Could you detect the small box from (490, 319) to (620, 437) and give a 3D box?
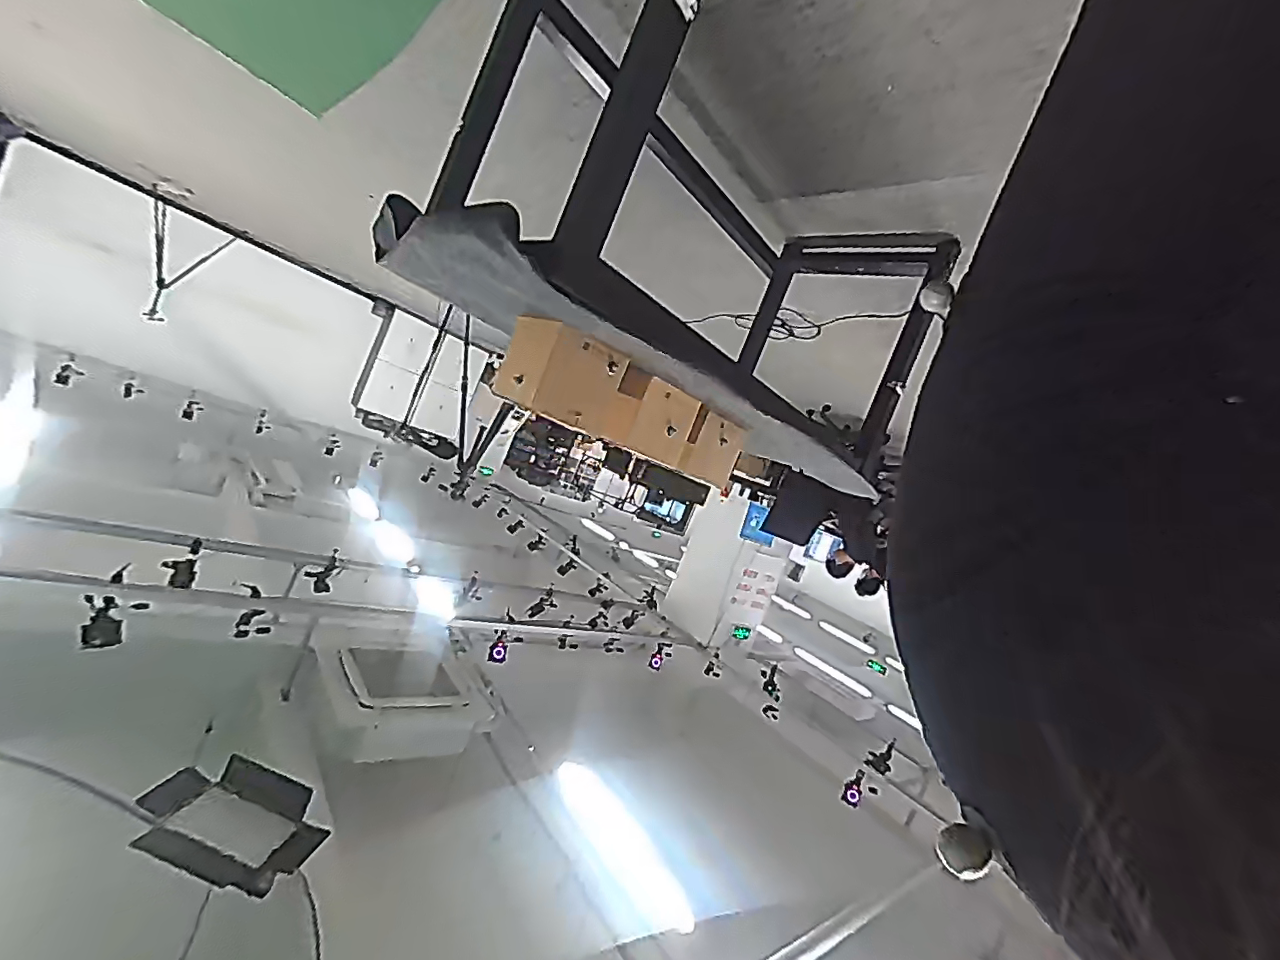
[{"bbox_3d":[-0.160,-0.202,1.057,0.168,0.176,0.179,21,-177,-42],"label":"small box"}]

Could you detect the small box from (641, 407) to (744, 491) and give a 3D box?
[{"bbox_3d":[0.136,-0.092,1.398,0.168,0.176,0.179,20,-177,-42],"label":"small box"}]

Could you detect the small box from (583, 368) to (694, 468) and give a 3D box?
[{"bbox_3d":[0.001,-0.145,1.226,0.168,0.176,0.179,21,-177,-42],"label":"small box"}]
